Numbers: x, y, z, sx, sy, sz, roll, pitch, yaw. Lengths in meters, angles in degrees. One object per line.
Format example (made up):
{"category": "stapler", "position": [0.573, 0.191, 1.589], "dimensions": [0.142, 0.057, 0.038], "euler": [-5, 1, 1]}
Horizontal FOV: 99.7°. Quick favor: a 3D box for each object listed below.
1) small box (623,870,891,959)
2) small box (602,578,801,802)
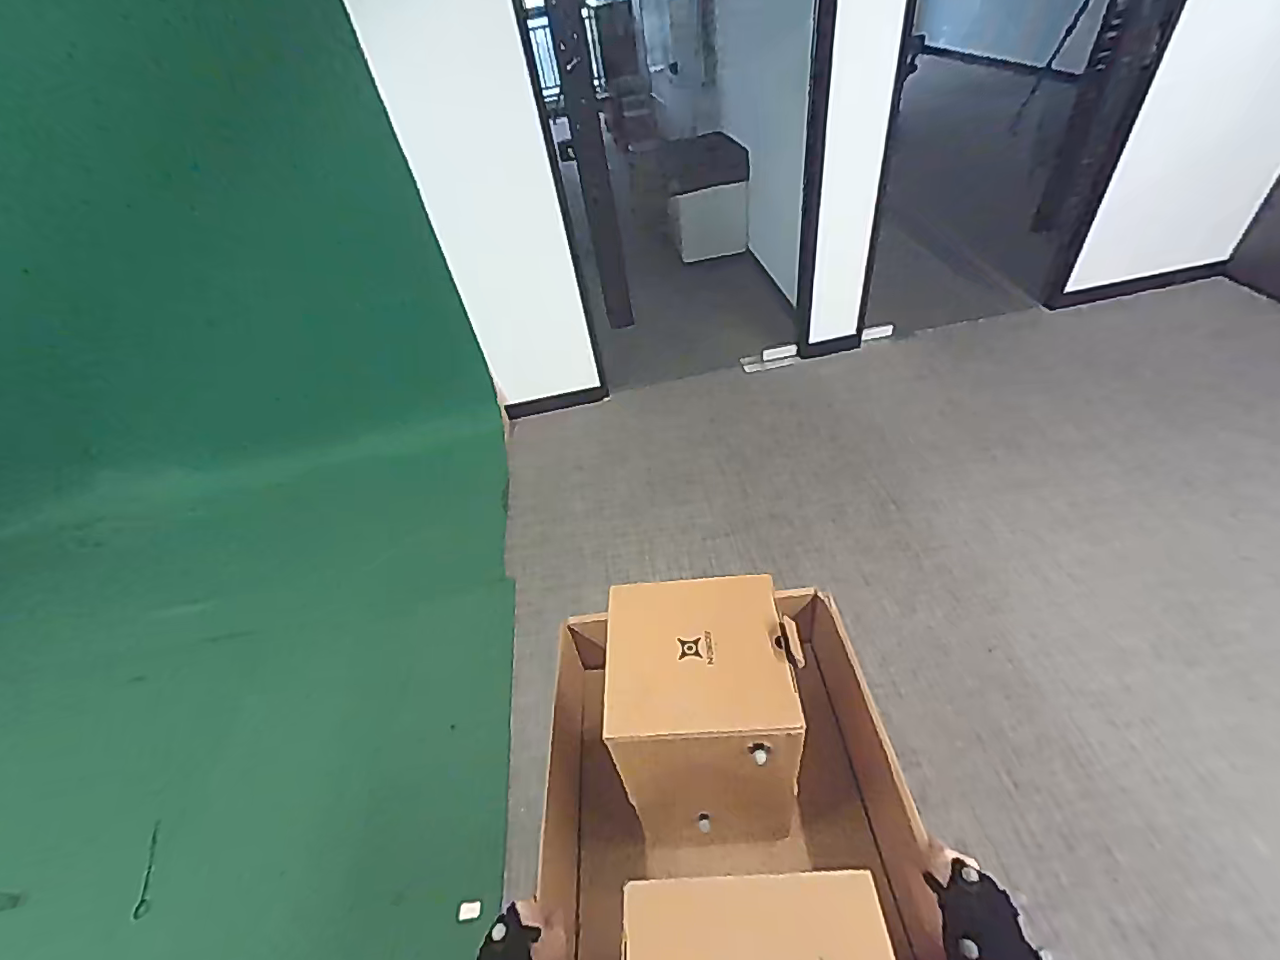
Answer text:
{"category": "small box", "position": [0.085, 0.397, 0.380], "dimensions": [0.179, 0.176, 0.168], "euler": [-6, 42, 4]}
{"category": "small box", "position": [0.063, 0.226, 0.577], "dimensions": [0.179, 0.176, 0.168], "euler": [-5, 42, 4]}
